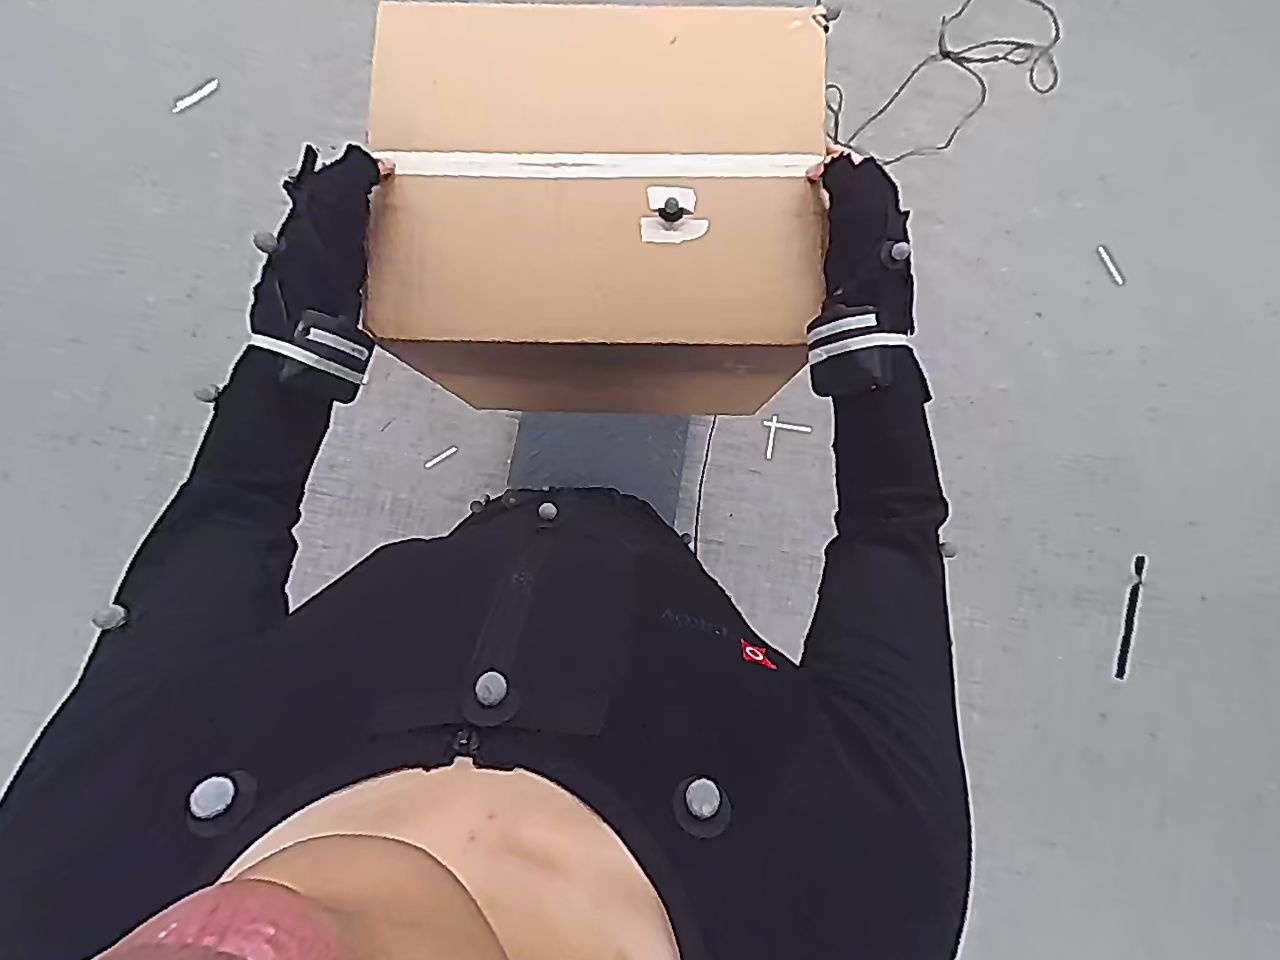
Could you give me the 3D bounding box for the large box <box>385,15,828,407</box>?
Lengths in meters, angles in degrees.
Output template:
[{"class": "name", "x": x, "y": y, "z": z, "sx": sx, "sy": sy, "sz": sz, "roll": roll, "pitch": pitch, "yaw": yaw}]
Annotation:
[{"class": "large box", "x": -0.030, "y": -0.270, "z": 0.642, "sx": 0.408, "sy": 0.320, "sz": 0.320, "roll": 1, "pitch": 86, "yaw": 0}]
